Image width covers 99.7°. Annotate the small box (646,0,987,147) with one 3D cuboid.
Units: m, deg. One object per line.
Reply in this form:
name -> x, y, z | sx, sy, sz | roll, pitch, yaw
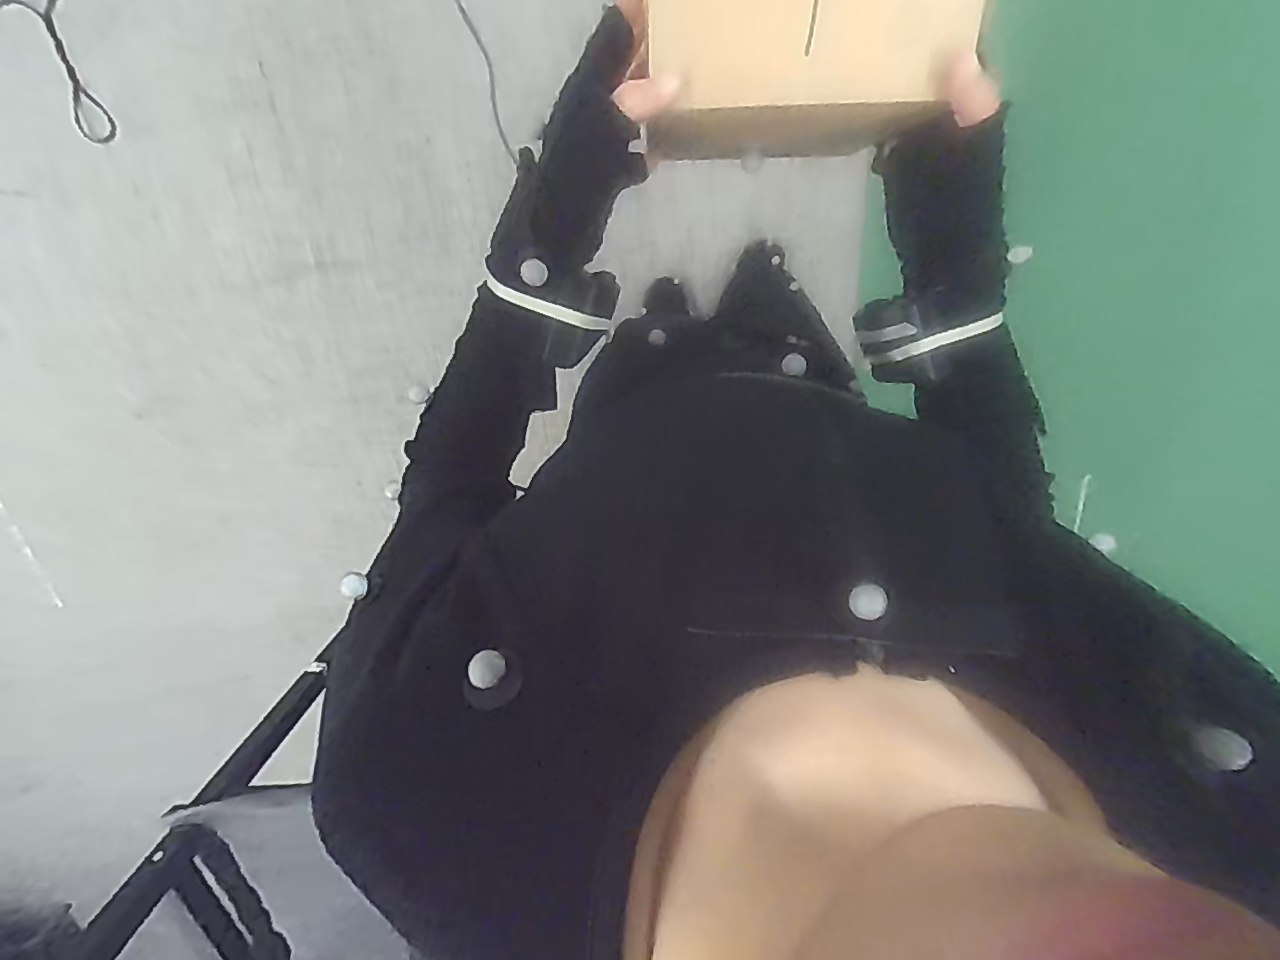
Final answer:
small box -> 0.087, -0.315, 0.318 | 0.168, 0.176, 0.179 | -1, 112, 1
